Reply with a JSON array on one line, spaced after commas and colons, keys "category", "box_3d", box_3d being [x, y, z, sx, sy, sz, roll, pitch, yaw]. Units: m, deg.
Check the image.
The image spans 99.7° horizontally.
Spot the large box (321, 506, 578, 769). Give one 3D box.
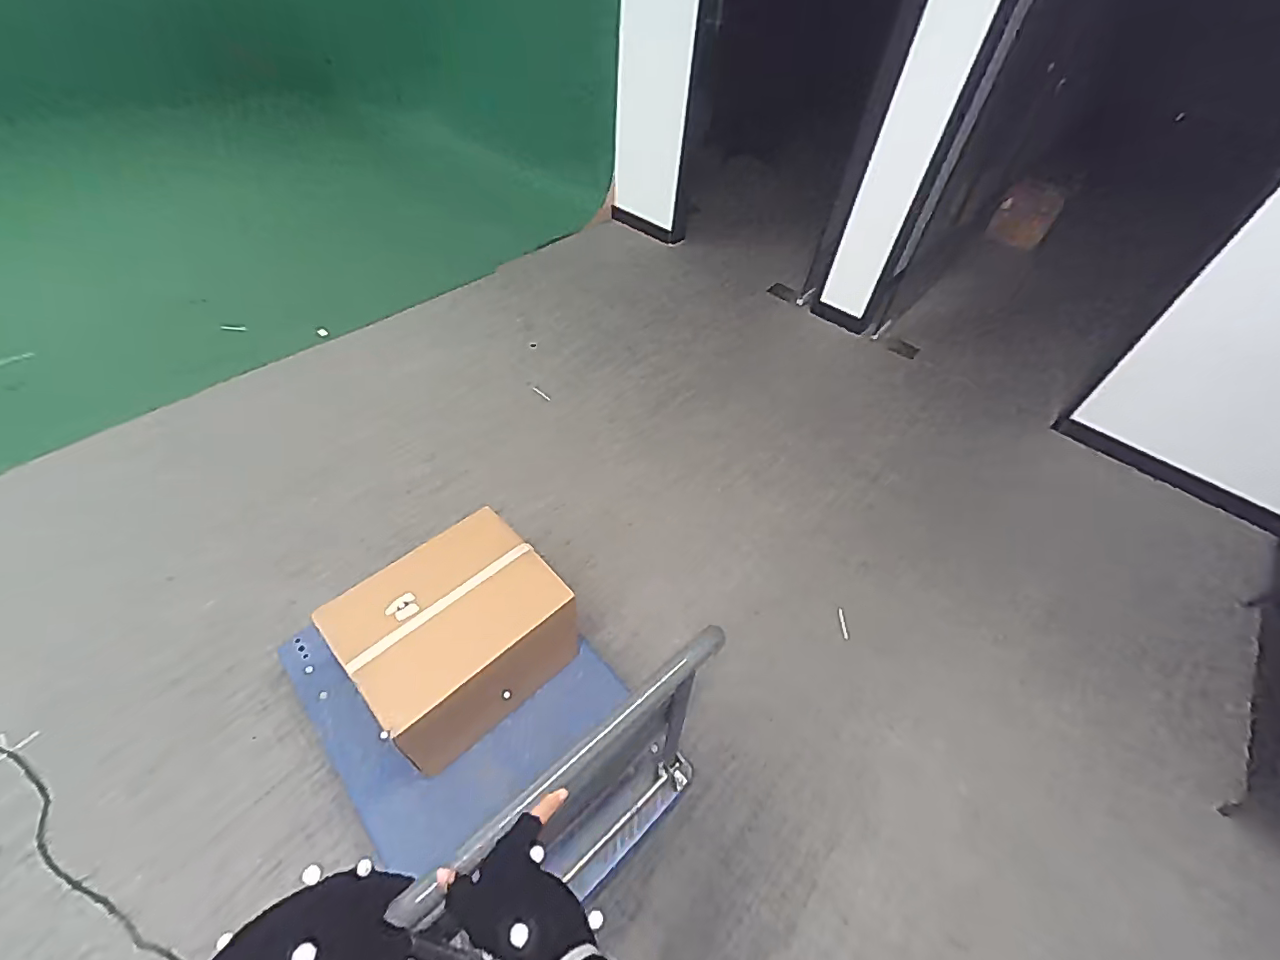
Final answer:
[{"category": "large box", "box_3d": [-0.384, 0.339, 1.192, 0.408, 0.320, 0.320, -36, 60, -28]}]
